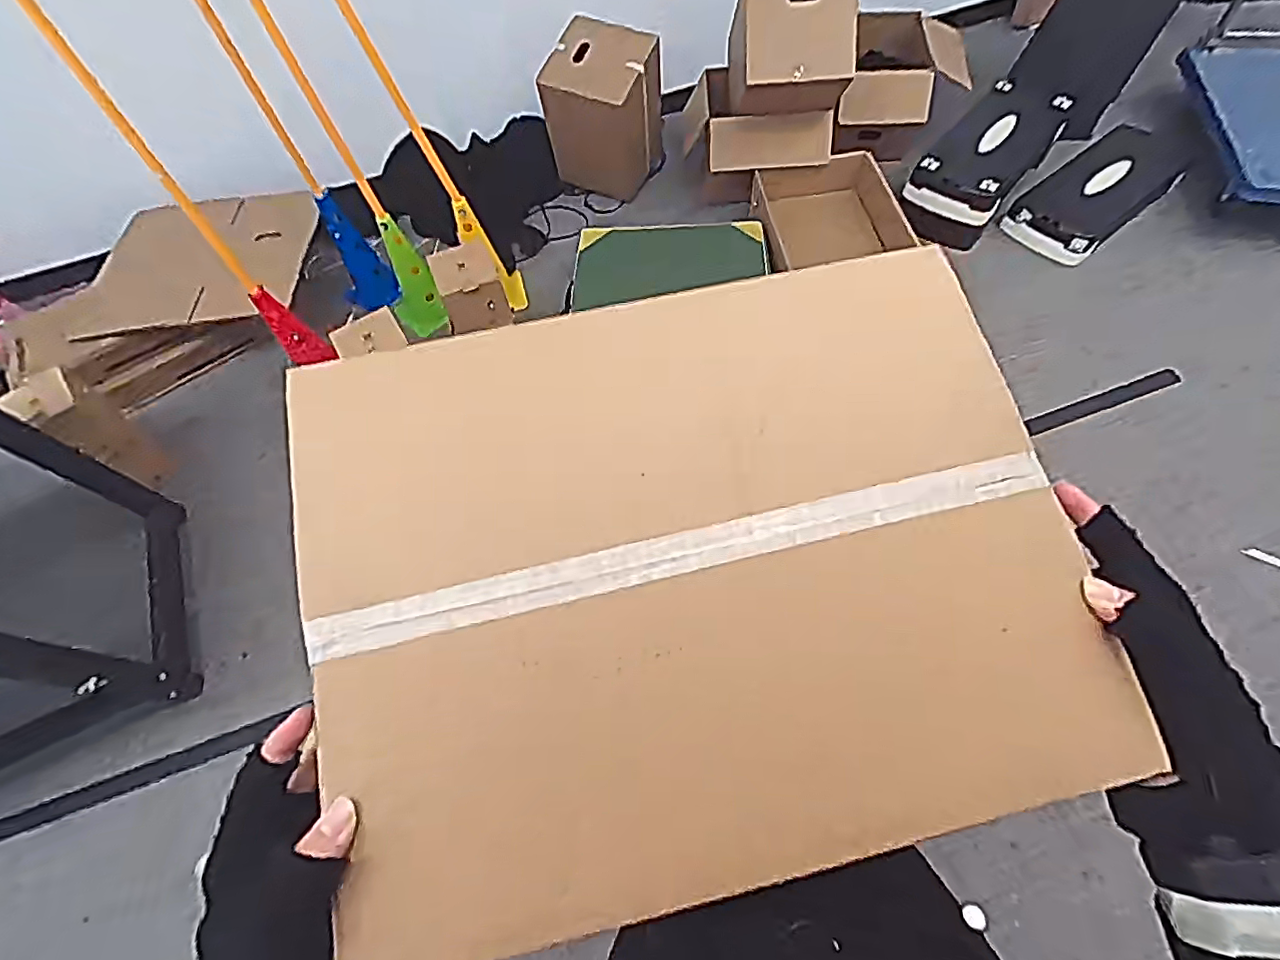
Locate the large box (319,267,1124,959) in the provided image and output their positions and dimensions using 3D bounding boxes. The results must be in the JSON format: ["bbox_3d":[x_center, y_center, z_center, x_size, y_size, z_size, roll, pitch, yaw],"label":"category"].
[{"bbox_3d":[0.026,0.085,0.450,0.408,0.320,0.320,-13,75,-4],"label":"large box"}]
